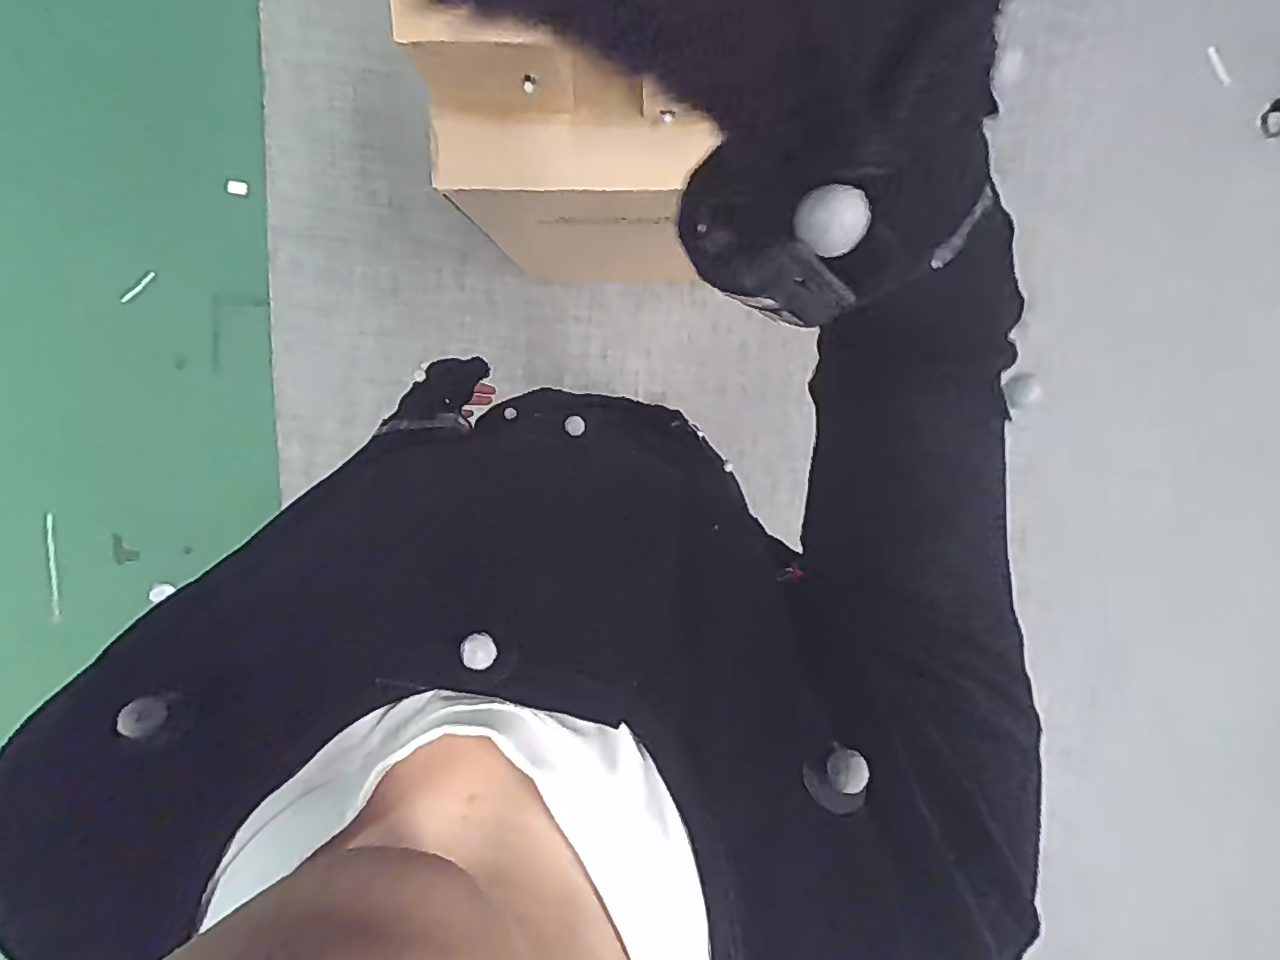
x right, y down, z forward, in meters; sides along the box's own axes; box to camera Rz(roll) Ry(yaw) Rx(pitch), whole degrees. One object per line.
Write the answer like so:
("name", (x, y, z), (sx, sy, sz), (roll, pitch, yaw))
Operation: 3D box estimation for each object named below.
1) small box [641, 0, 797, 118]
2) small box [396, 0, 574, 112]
("small box", (0.091, -0.560, 0.642), (0.168, 0.176, 0.179), (3, 103, 1))
("small box", (-0.175, -0.572, 0.651), (0.179, 0.176, 0.168), (1, 102, 3))
